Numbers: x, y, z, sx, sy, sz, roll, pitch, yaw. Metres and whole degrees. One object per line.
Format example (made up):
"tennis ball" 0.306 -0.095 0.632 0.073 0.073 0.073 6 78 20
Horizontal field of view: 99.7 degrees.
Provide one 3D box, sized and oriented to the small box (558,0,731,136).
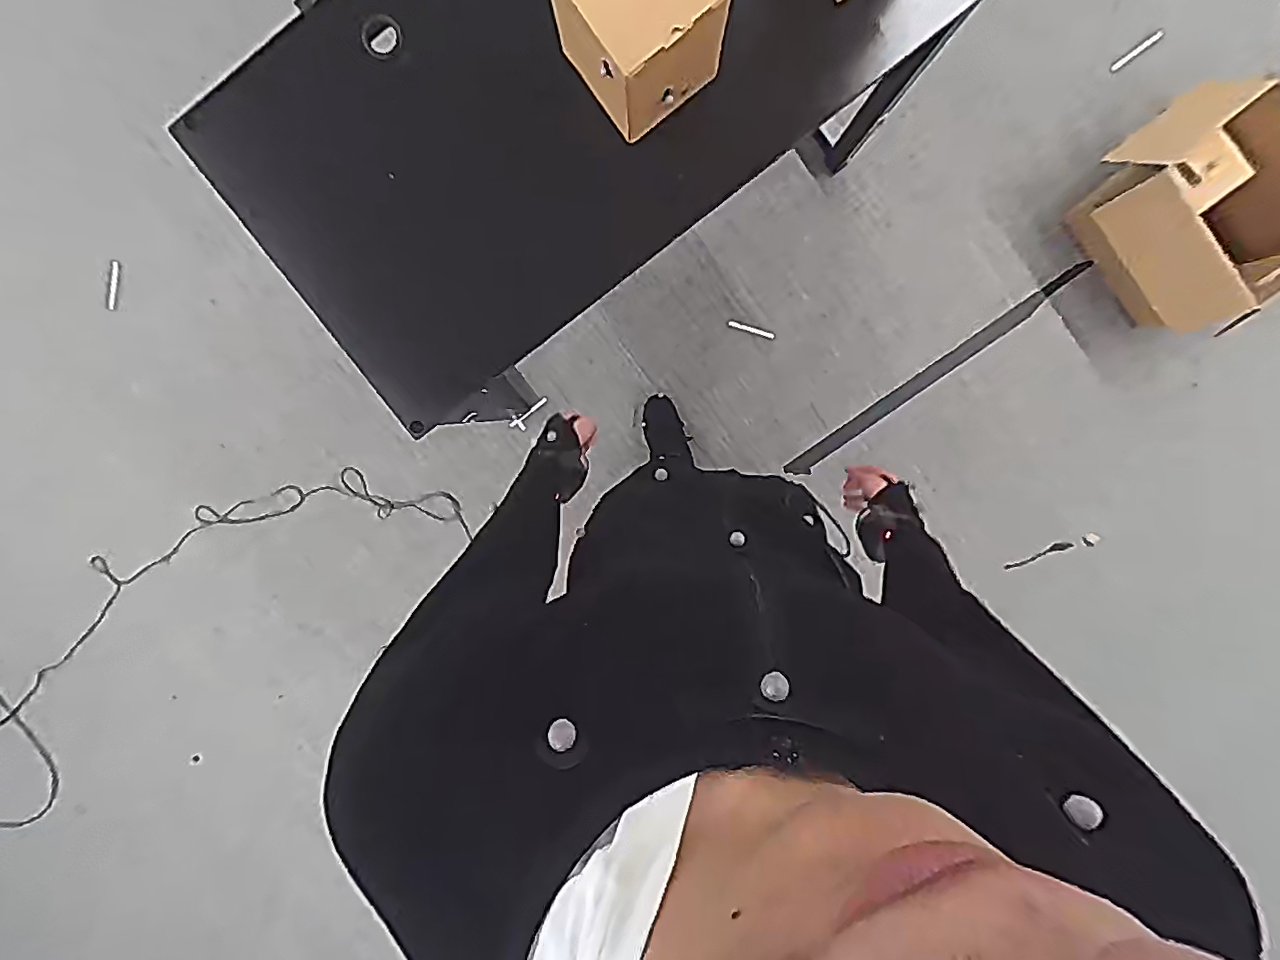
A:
"small box" -0.002 -0.623 0.734 0.168 0.176 0.179 -37 96 5
